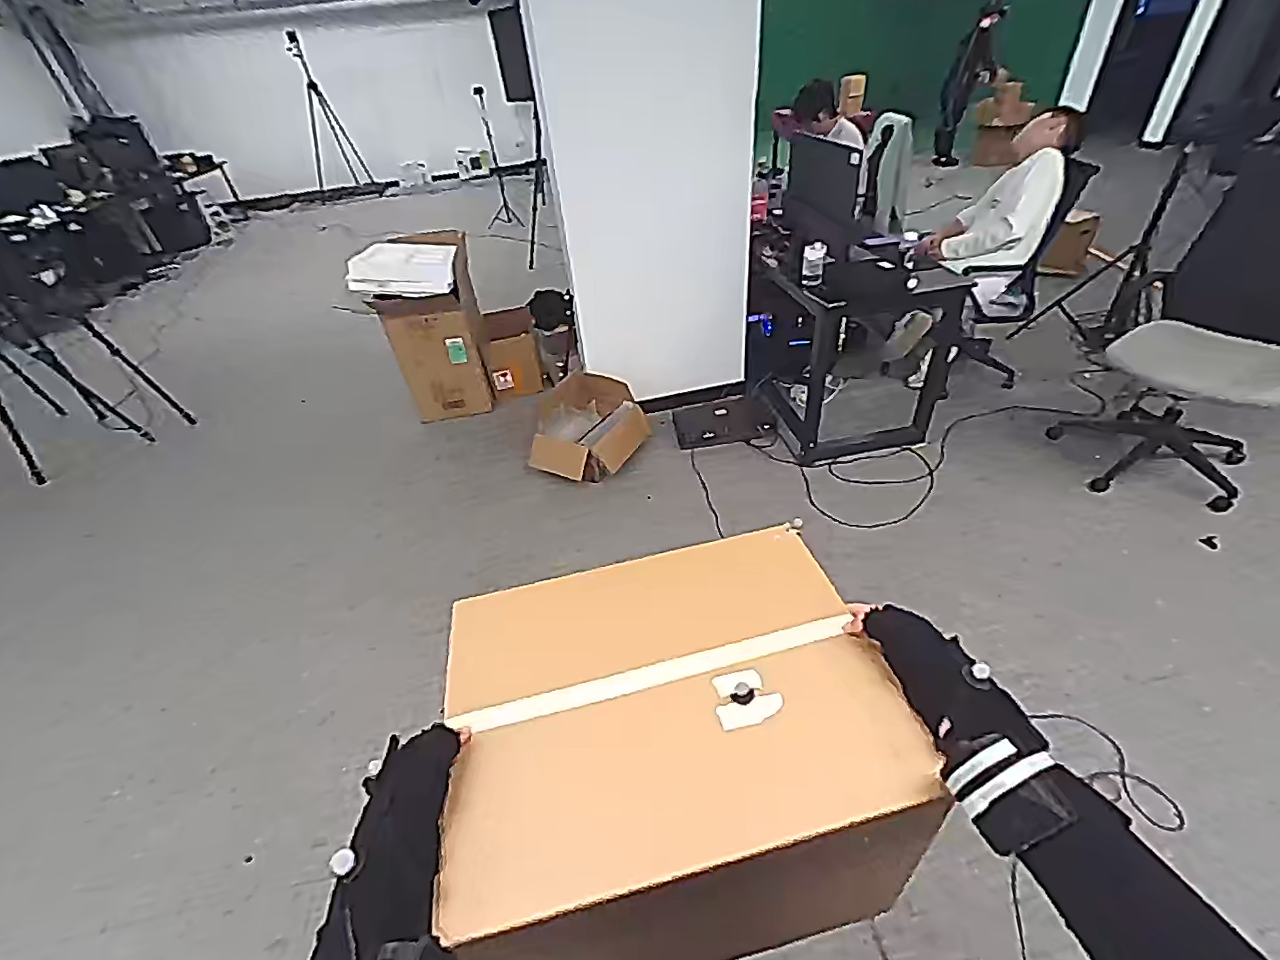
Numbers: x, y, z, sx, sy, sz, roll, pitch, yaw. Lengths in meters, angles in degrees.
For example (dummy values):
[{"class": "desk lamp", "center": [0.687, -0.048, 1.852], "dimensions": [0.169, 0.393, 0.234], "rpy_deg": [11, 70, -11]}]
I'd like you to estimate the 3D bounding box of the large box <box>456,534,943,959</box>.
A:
[{"class": "large box", "center": [0.039, 0.314, 0.618], "dimensions": [0.408, 0.320, 0.320], "rpy_deg": [-13, 38, -6]}]
